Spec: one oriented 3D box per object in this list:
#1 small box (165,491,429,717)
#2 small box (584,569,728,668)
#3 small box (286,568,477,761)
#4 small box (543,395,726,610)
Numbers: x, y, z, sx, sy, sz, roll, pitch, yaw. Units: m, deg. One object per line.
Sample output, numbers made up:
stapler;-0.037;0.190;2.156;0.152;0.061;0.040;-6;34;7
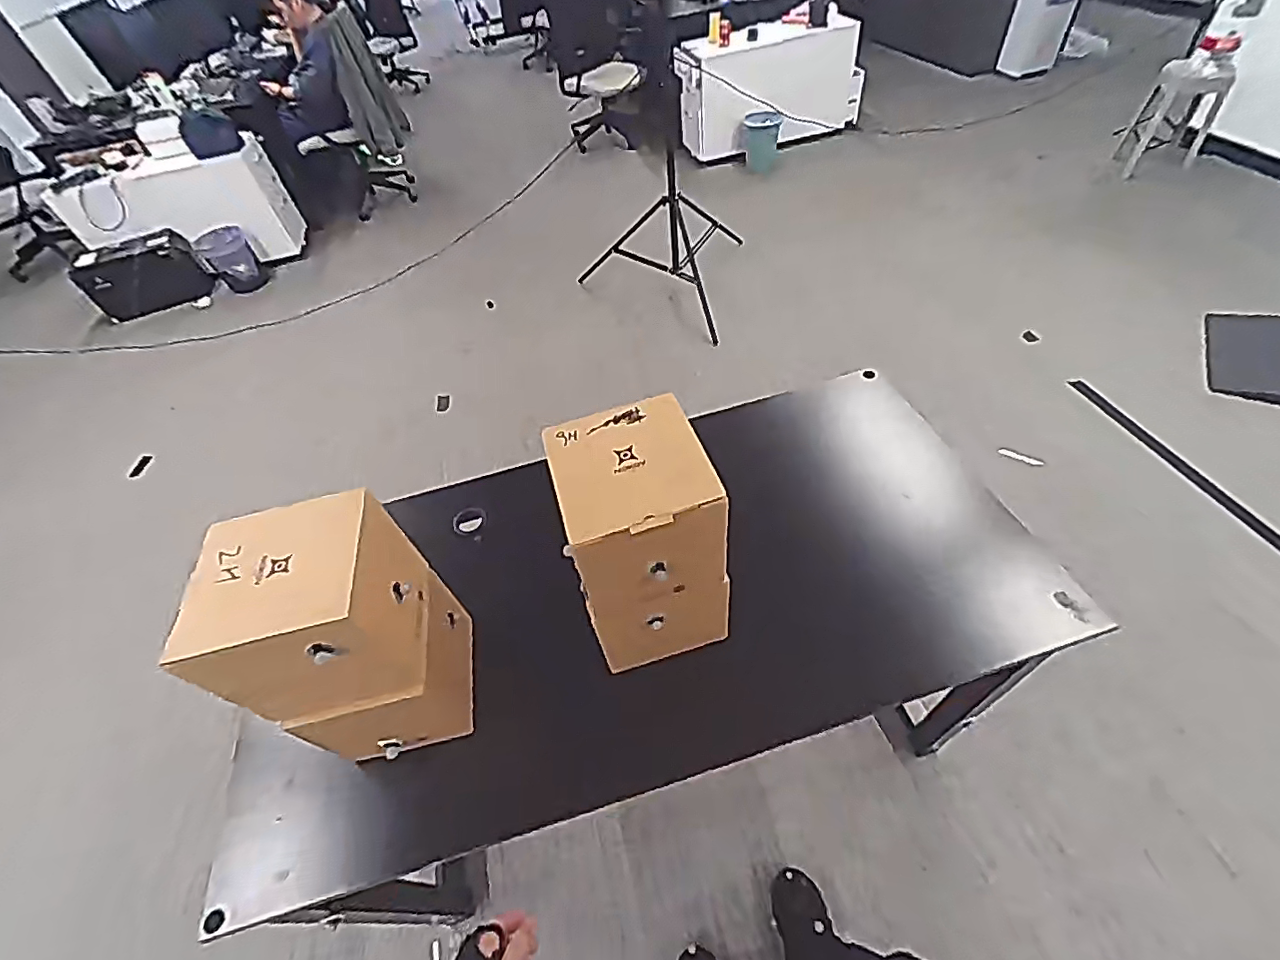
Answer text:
small box;-0.353;0.142;0.604;0.179;0.176;0.168;-14;49;-2
small box;0.016;0.142;0.764;0.179;0.176;0.168;-16;50;-6
small box;-0.328;0.250;0.726;0.168;0.176;0.179;-14;51;-2
small box;-0.003;0.035;0.642;0.168;0.176;0.179;-17;51;-6
